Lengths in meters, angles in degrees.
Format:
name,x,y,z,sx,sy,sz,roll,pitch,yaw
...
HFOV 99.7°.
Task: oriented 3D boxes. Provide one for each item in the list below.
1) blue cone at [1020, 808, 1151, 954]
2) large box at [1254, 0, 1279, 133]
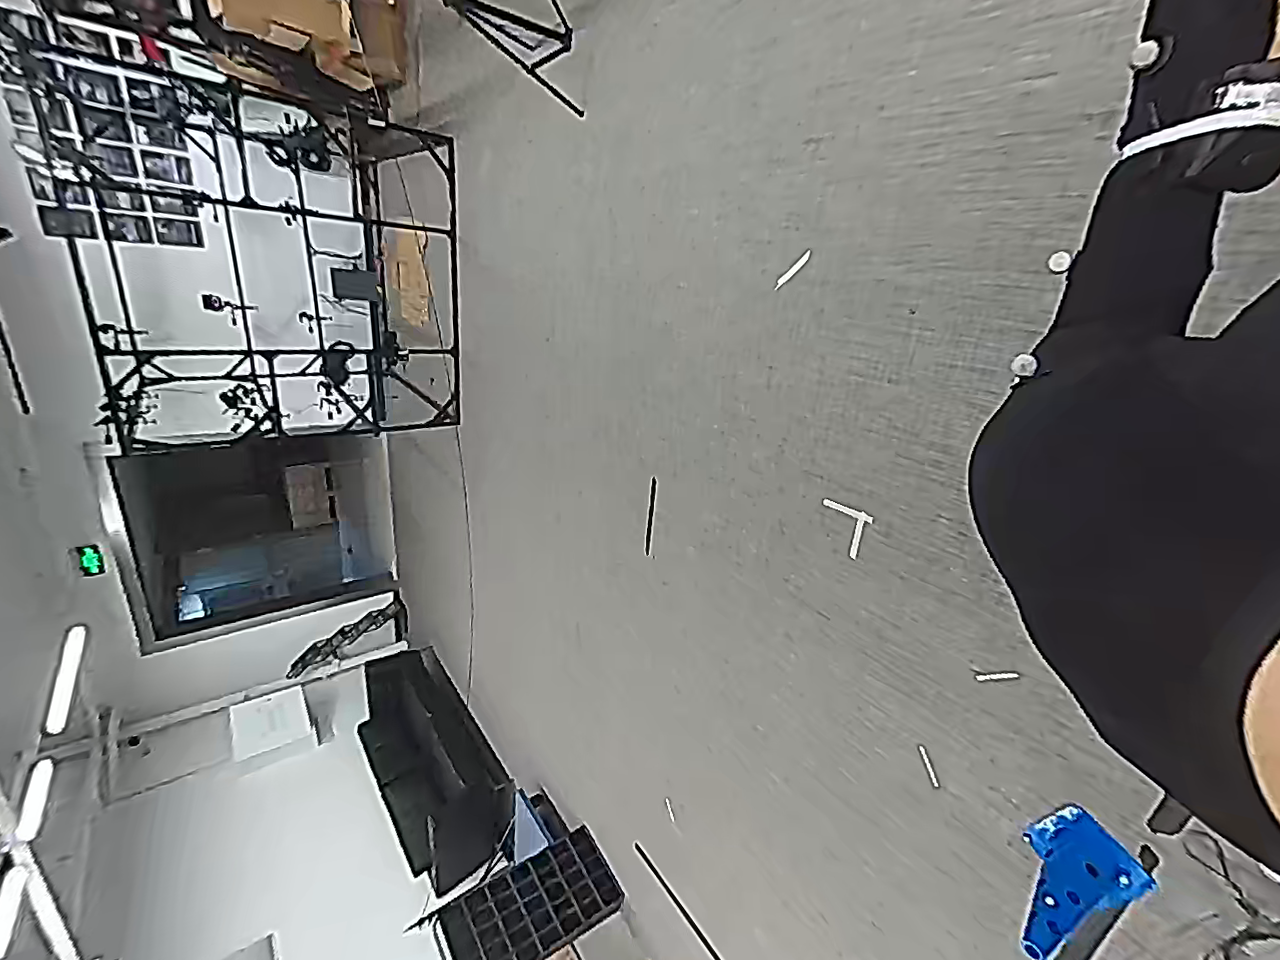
name,x,y,z,sx,sy,sz,roll,pitch,yaw
blue cone,0.973,0.948,1.240,0.193,0.380,0.192,53,137,33
large box,0.640,-0.399,0.255,0.408,0.320,0.320,21,120,47
